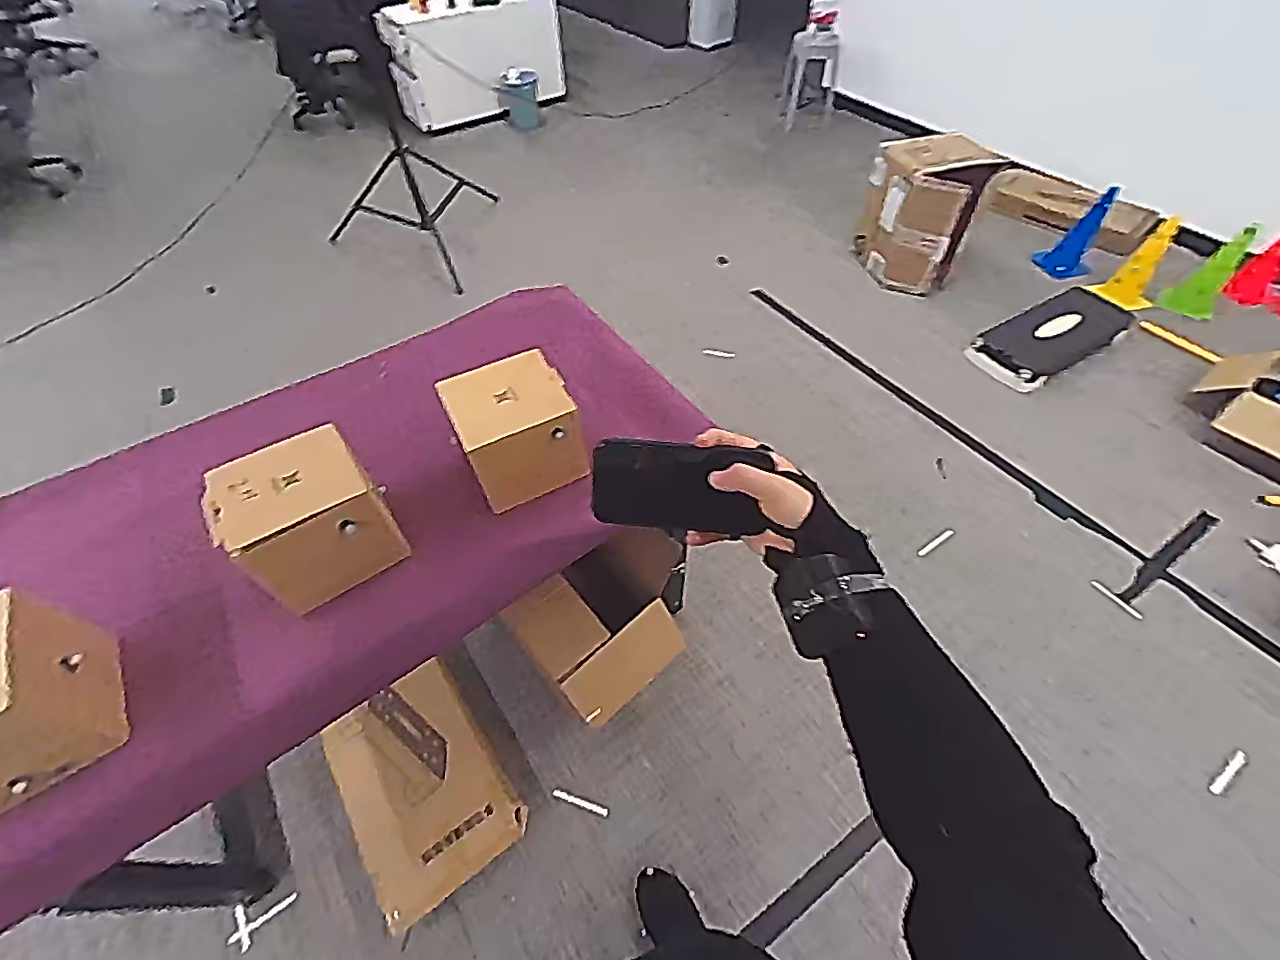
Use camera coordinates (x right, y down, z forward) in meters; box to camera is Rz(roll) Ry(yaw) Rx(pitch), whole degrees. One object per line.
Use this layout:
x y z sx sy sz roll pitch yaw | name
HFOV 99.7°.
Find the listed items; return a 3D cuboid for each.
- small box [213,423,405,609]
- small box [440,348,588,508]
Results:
-0.472 0.054 0.796 0.179 0.176 0.168 -31 56 -20 | small box
-0.201 -0.082 0.895 0.179 0.176 0.168 -24 56 -16 | small box
